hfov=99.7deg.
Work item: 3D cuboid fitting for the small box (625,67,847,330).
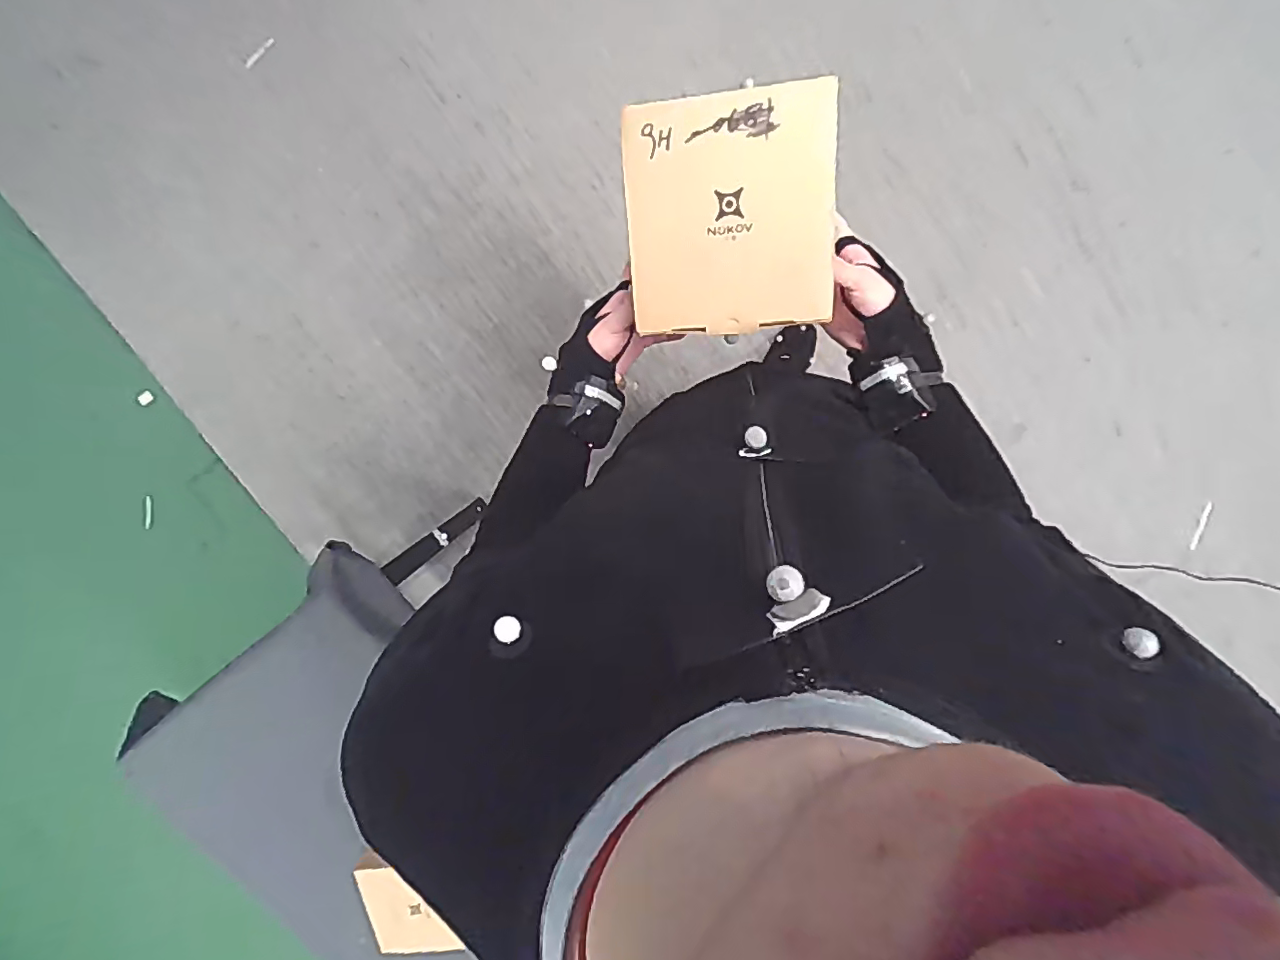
[{"bbox_3d":[0.085,-0.240,0.502,0.168,0.176,0.179,-2,108,8],"label":"small box"}]
